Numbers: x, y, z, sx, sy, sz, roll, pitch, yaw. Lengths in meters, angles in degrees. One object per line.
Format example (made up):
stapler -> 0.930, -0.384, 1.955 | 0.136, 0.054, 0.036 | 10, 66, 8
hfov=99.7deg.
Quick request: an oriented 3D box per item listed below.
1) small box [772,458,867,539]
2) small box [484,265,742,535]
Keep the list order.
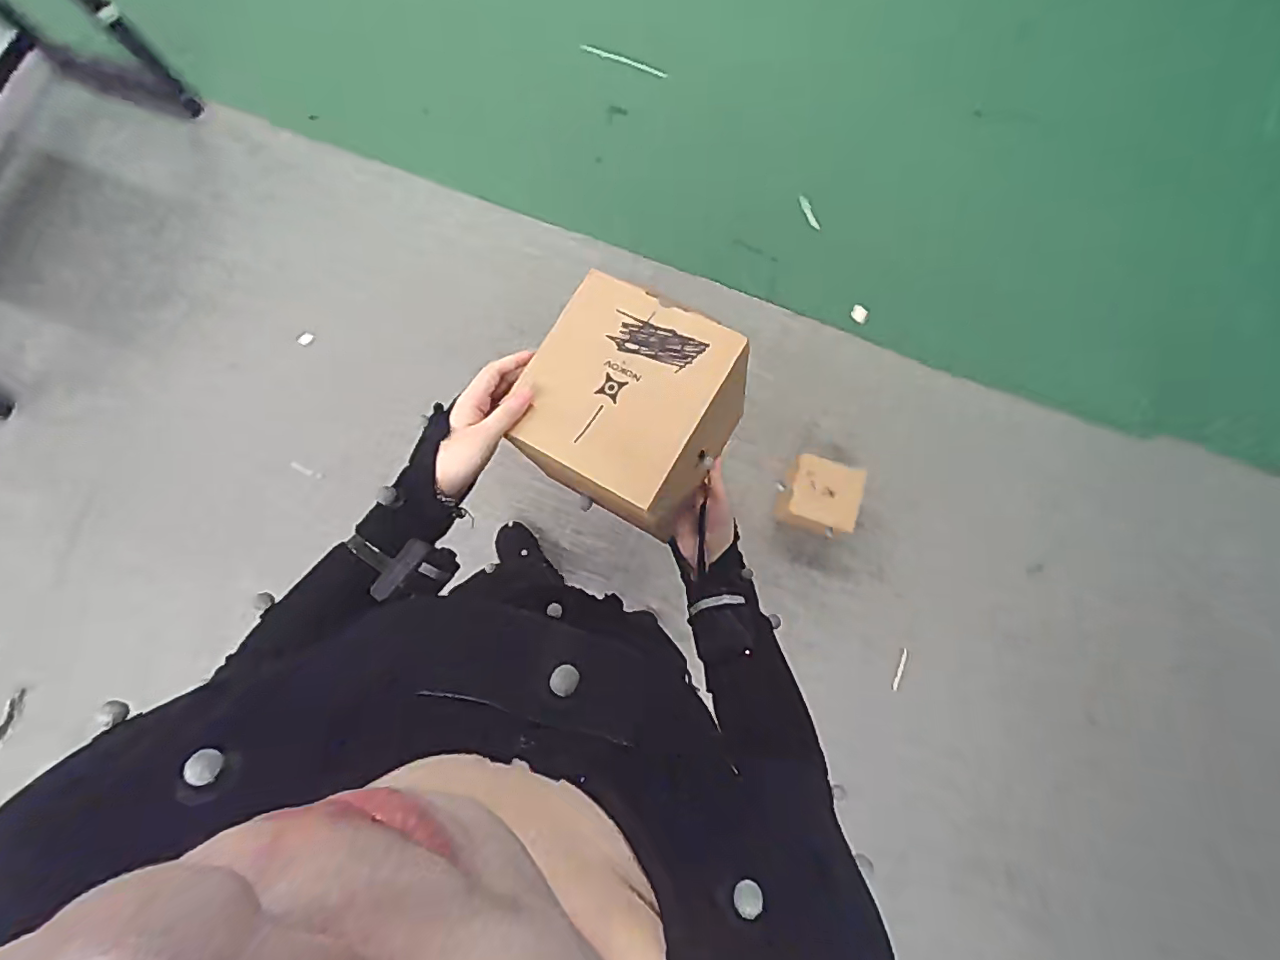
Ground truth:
small box -> 0.478, 0.056, 1.459 | 0.179, 0.176, 0.168 | 18, 80, 3
small box -> -0.015, -0.067, 0.536 | 0.168, 0.176, 0.179 | 27, 80, 15
